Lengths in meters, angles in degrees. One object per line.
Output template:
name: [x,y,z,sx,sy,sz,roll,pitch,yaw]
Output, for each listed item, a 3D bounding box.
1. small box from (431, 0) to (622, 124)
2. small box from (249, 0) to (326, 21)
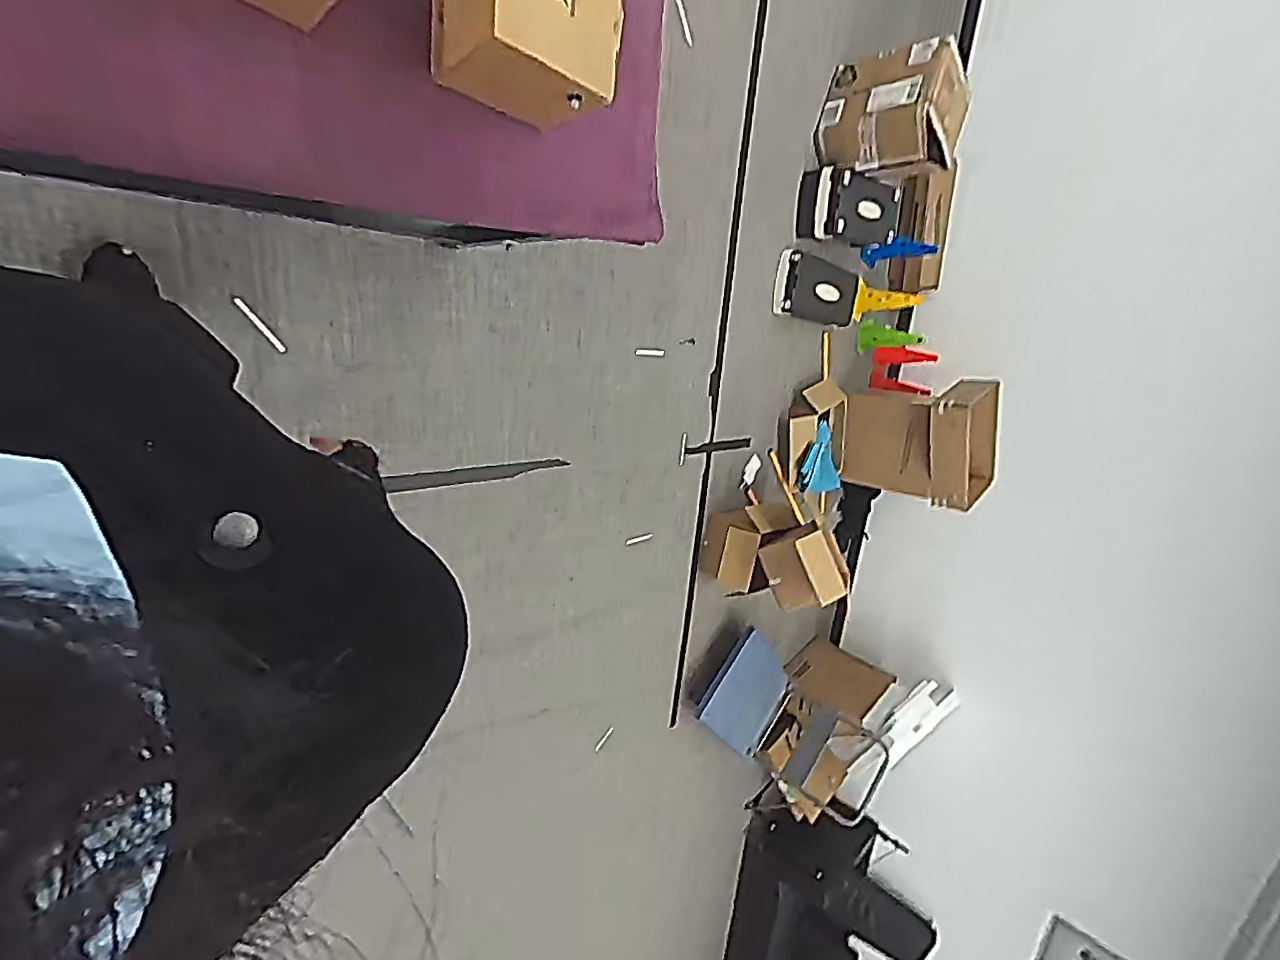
small box: [-0.144,-0.577,0.677,0.179,0.176,0.168,-6,108,-45]
small box: [-0.354,-0.550,0.465,0.179,0.176,0.168,-1,106,-46]
